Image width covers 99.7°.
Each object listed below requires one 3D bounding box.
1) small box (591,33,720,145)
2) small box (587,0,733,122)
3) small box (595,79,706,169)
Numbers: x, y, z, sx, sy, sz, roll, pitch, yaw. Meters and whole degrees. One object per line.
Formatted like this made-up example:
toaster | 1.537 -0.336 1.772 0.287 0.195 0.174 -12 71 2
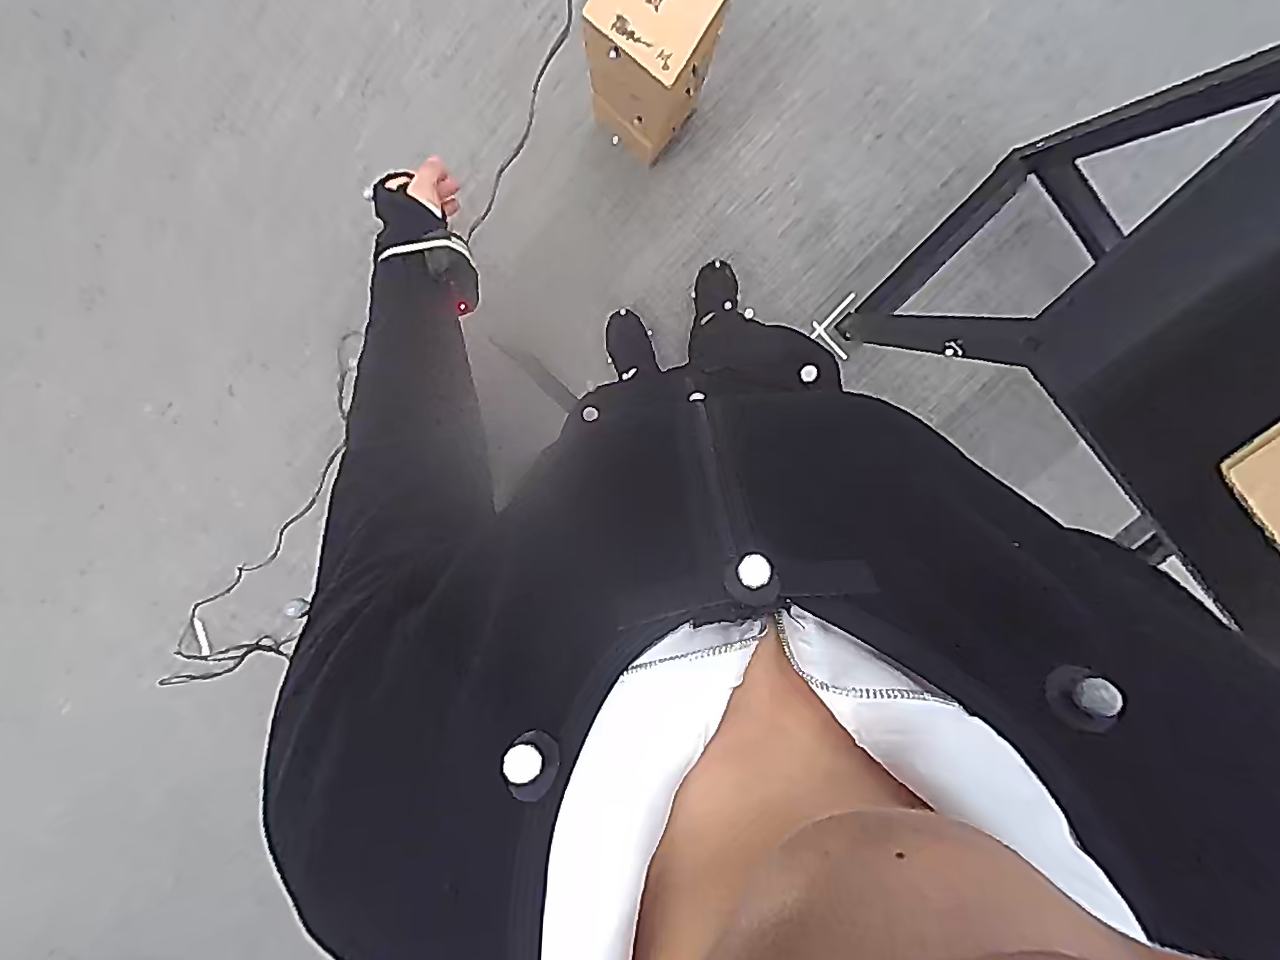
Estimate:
small box | 0.026 -0.786 1.030 0.168 0.176 0.179 35 101 -12
small box | 0.029 -0.735 0.874 0.168 0.176 0.179 33 103 -11
small box | 0.018 -0.829 1.187 0.168 0.176 0.179 39 103 -12
